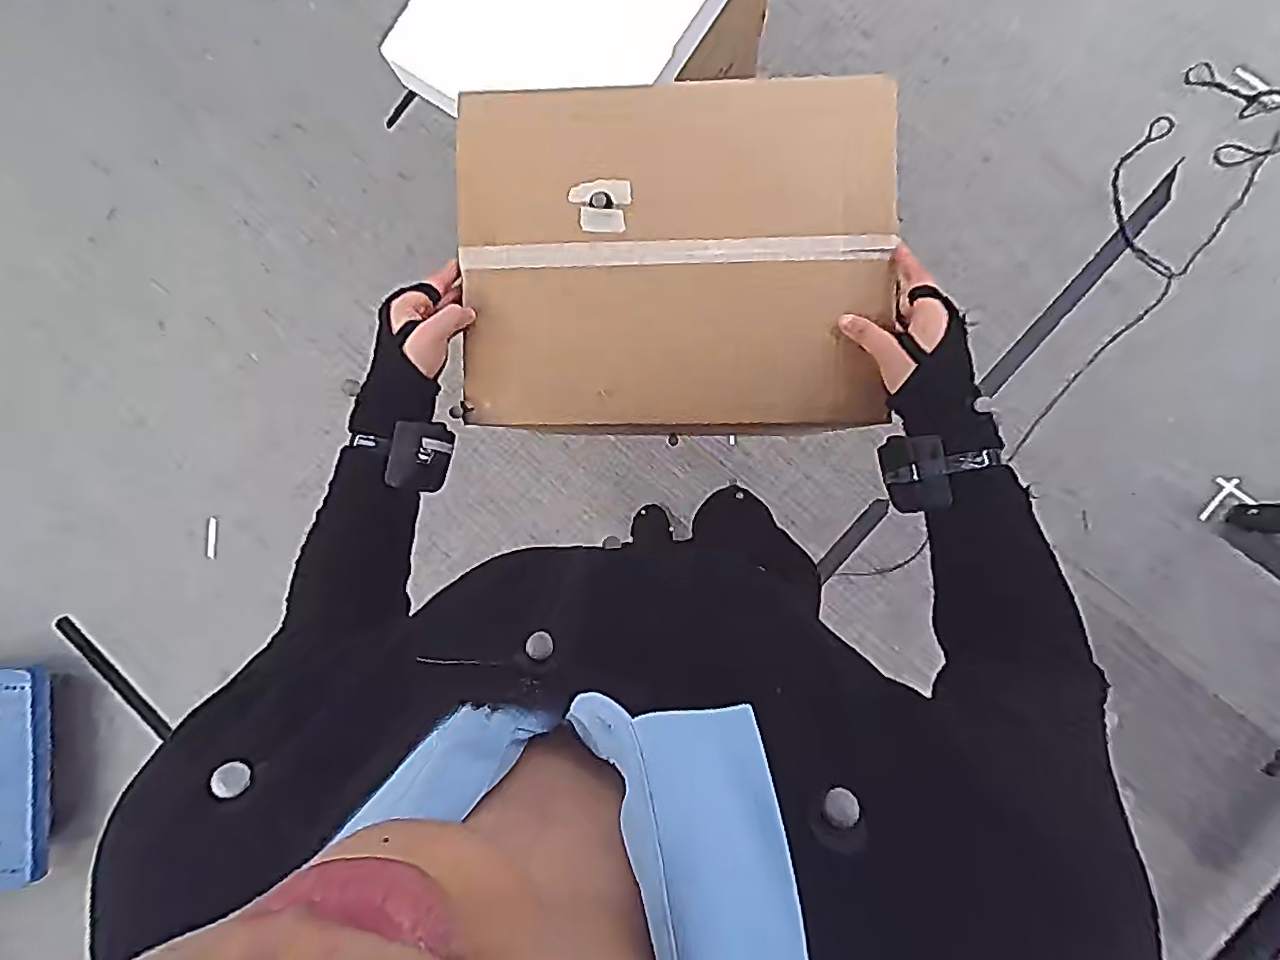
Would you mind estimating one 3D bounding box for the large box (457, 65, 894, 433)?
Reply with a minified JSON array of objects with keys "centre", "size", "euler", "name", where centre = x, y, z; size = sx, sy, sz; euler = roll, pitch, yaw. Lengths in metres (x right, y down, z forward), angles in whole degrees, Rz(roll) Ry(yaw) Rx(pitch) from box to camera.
[{"centre":[0.041,-0.218,0.646],"size":[0.408,0.320,0.320],"euler":[0,92,4],"name":"large box"}]
